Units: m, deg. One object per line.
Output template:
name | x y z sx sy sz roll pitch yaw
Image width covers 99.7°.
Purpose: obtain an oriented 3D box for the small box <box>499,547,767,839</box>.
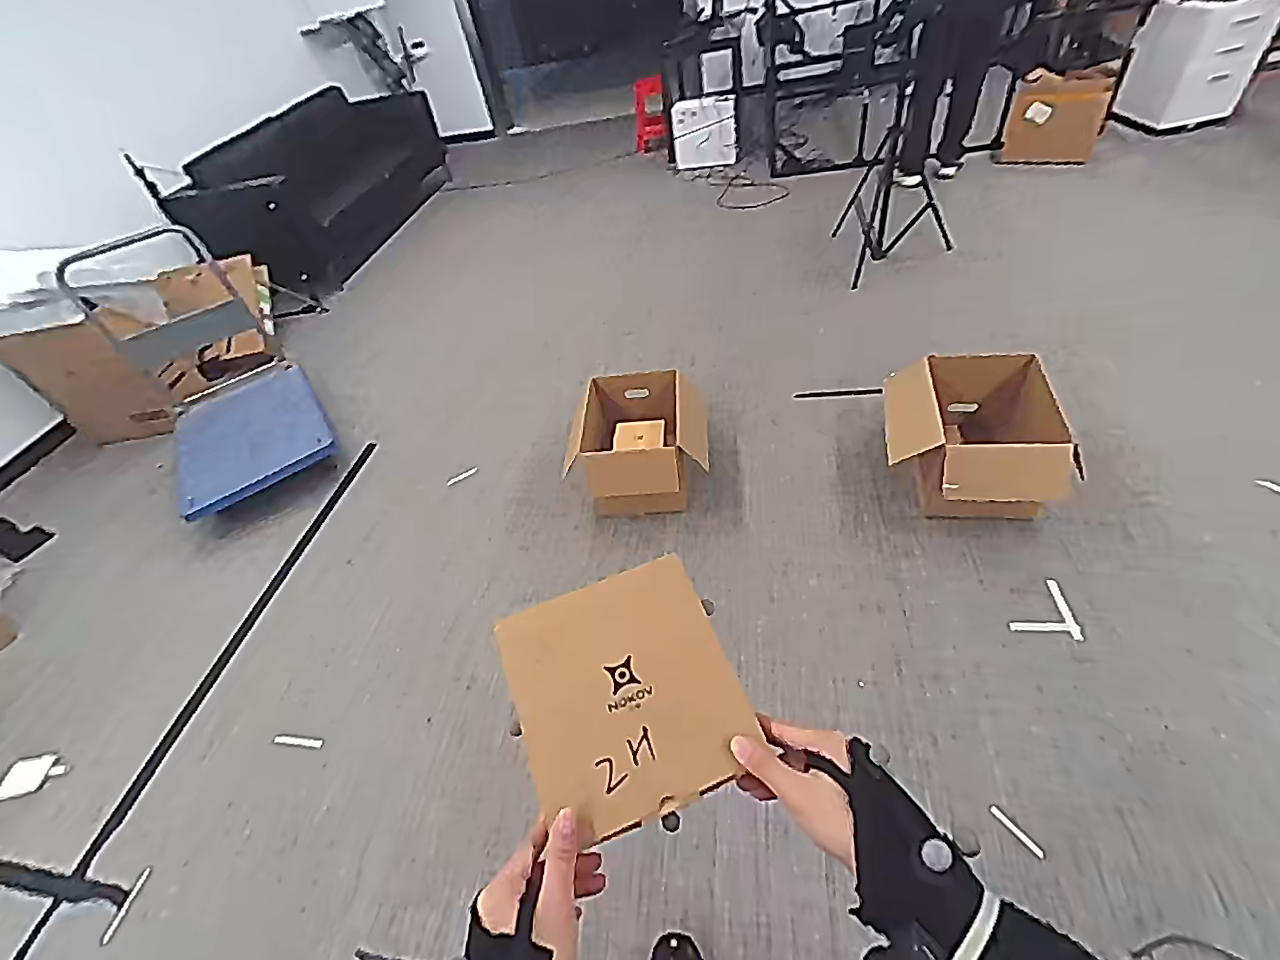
small box | -0.011 0.193 0.486 0.168 0.176 0.179 -19 60 -10
